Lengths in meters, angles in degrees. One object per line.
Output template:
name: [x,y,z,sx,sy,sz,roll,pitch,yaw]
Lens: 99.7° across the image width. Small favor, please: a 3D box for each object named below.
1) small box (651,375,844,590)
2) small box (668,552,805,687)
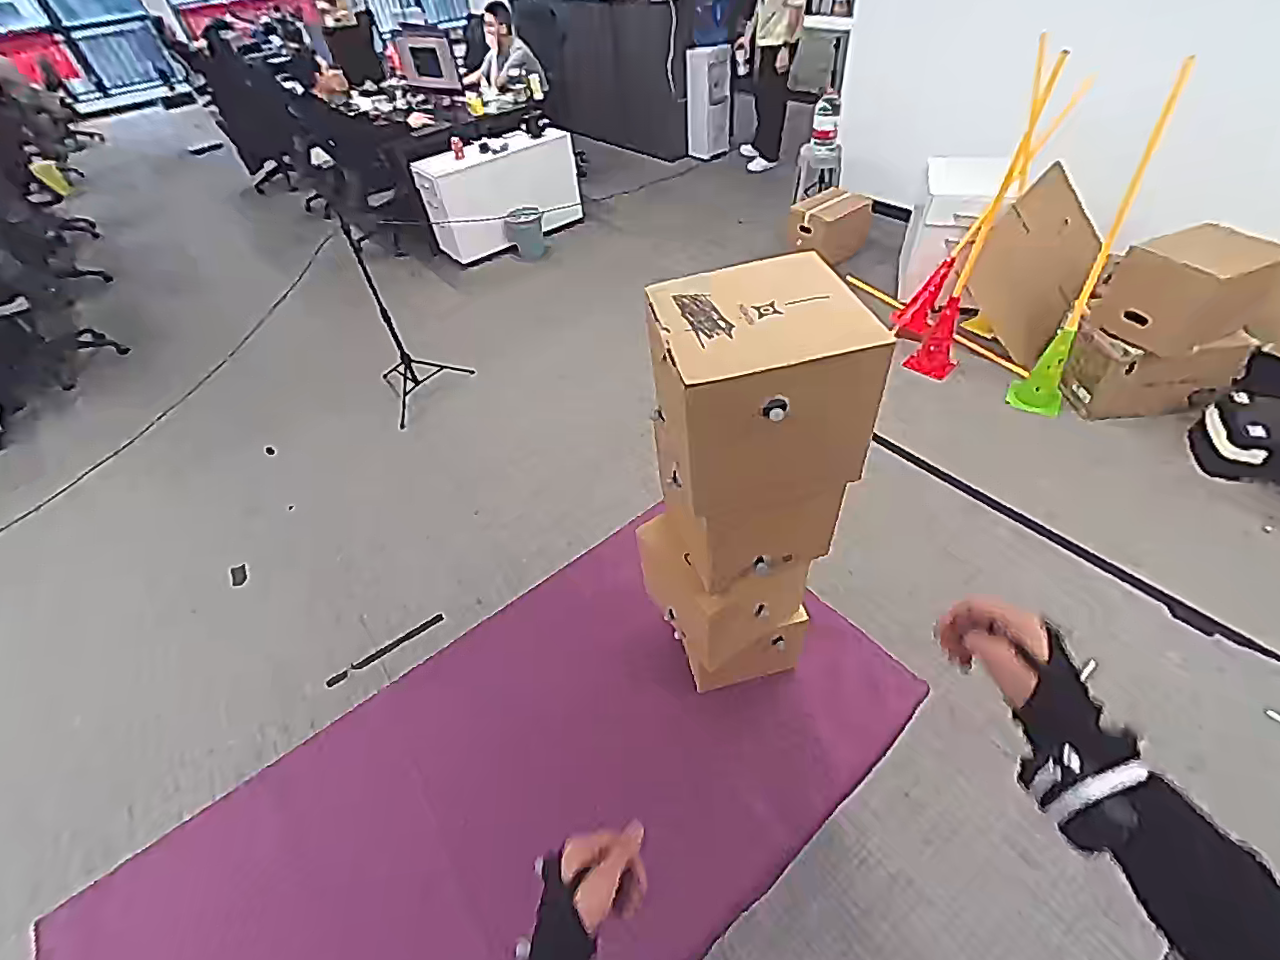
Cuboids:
small box: [0.120,0.004,0.666,0.168,0.176,0.179,-18,49,-6]
small box: [0.153,0.222,0.909,0.179,0.176,0.168,-13,47,-5]
